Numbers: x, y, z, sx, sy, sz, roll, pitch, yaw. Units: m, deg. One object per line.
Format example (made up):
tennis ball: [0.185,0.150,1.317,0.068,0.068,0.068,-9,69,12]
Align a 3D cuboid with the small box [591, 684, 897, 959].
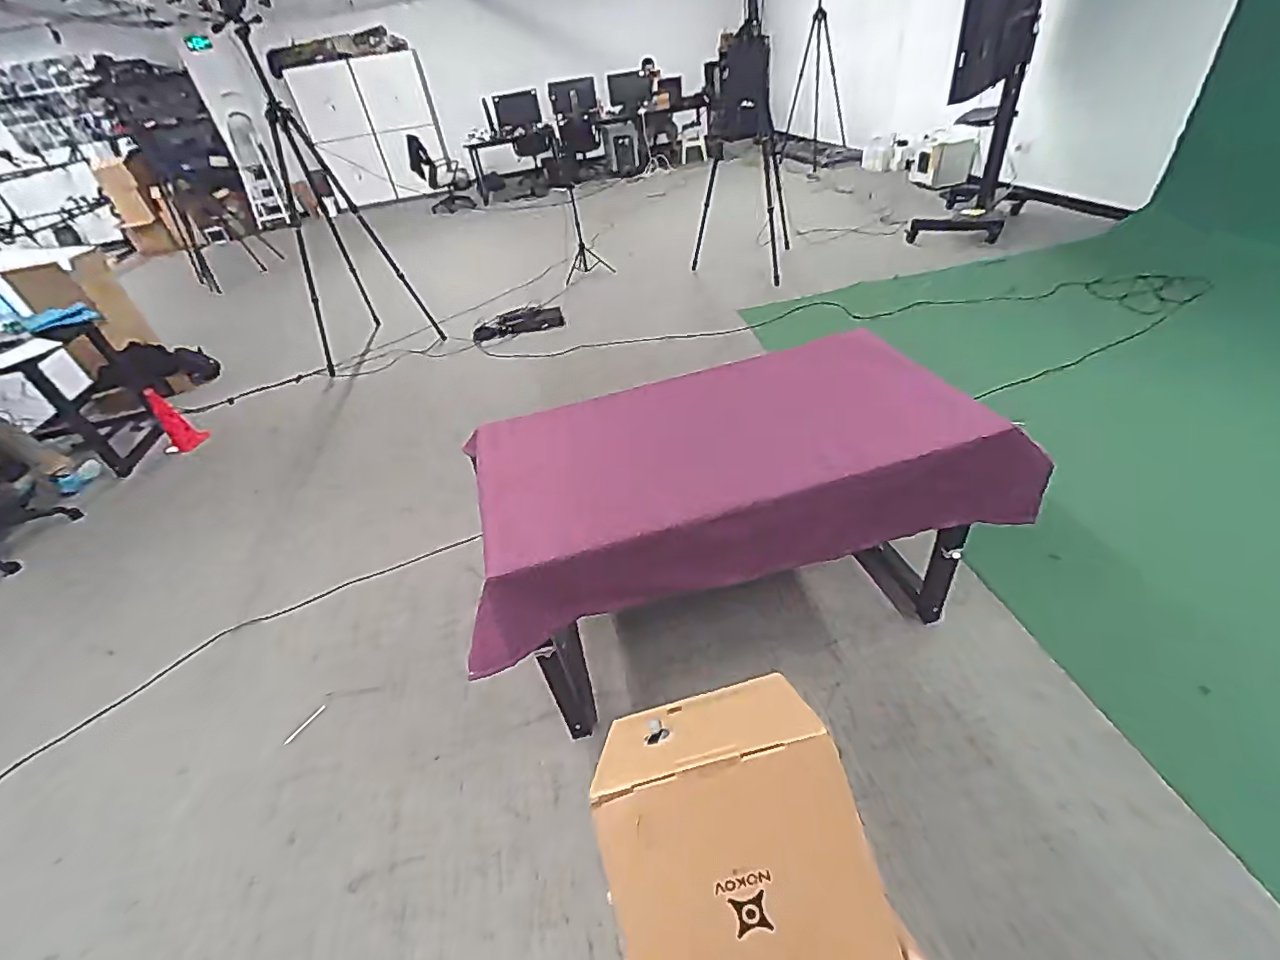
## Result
small box: [0.070,0.274,0.423,0.168,0.176,0.179,-16,82,2]
